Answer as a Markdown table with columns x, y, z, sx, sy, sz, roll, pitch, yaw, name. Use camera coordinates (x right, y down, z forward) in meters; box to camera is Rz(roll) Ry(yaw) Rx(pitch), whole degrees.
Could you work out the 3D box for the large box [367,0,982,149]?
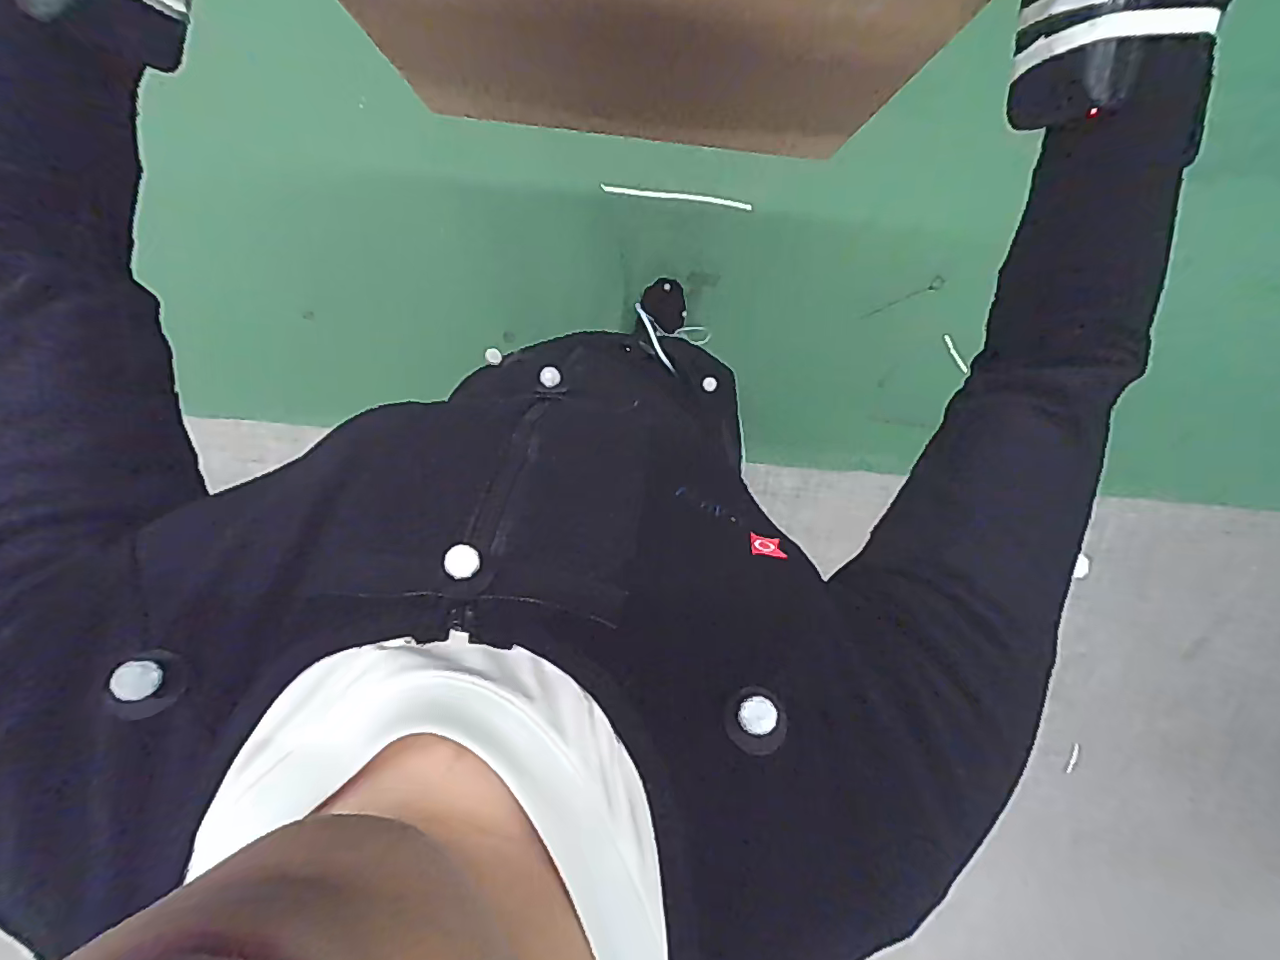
| x | y | z | sx | sy | sz | roll | pitch | yaw | name |
| --- | --- | --- | --- | --- | --- | --- | --- | --- | --- |
| 0.018 | -0.463 | 0.366 | 0.408 | 0.320 | 0.320 | 5 | 104 | -3 | large box |
